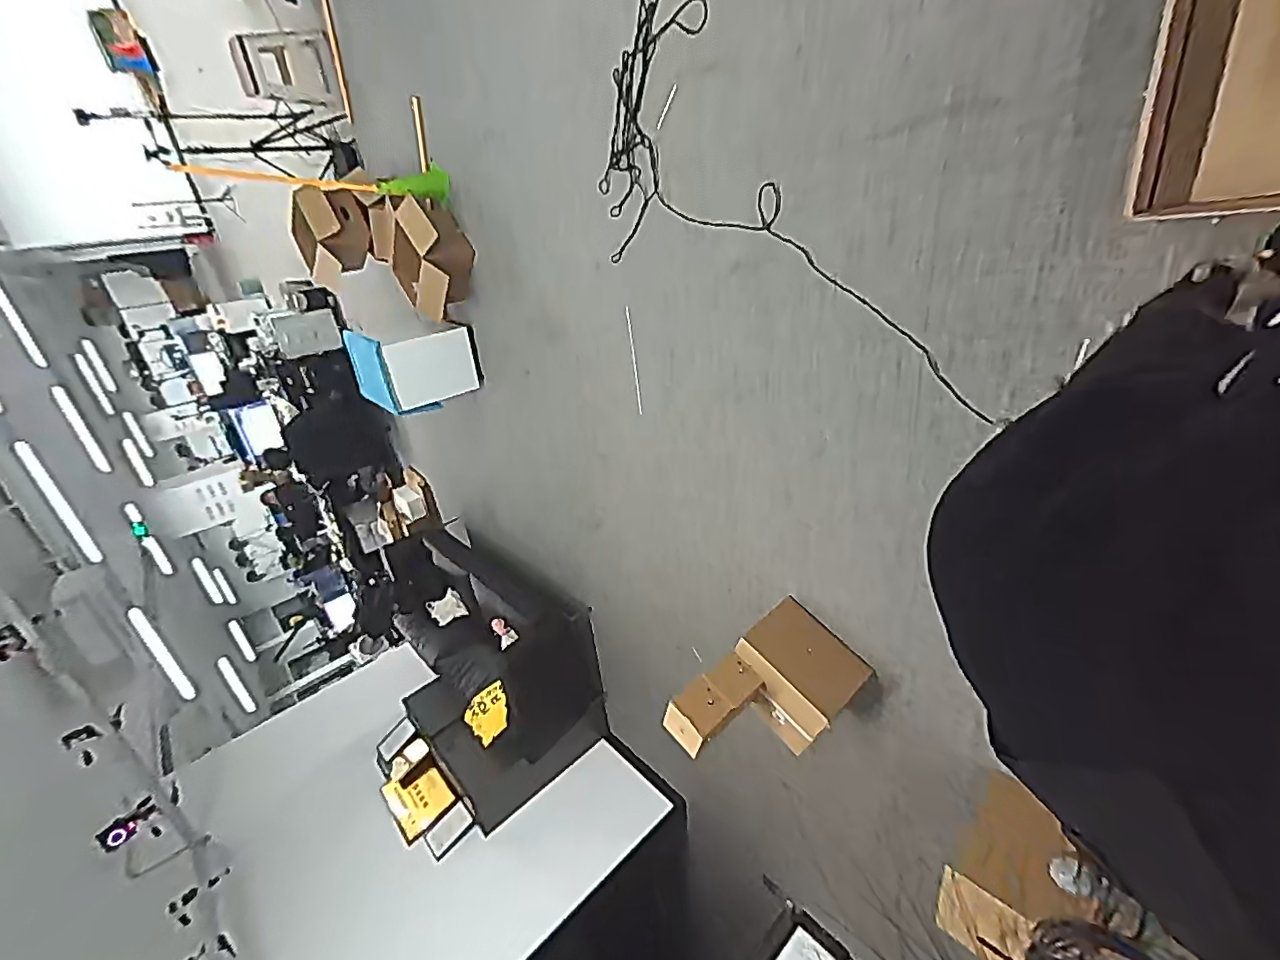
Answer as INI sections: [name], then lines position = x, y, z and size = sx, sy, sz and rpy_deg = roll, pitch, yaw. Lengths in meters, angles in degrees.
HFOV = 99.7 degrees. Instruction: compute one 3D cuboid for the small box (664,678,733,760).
[small box]
position = 0.211, 0.852, 1.933
size = 0.168, 0.176, 0.179
rpy_deg = 39, 138, 31
